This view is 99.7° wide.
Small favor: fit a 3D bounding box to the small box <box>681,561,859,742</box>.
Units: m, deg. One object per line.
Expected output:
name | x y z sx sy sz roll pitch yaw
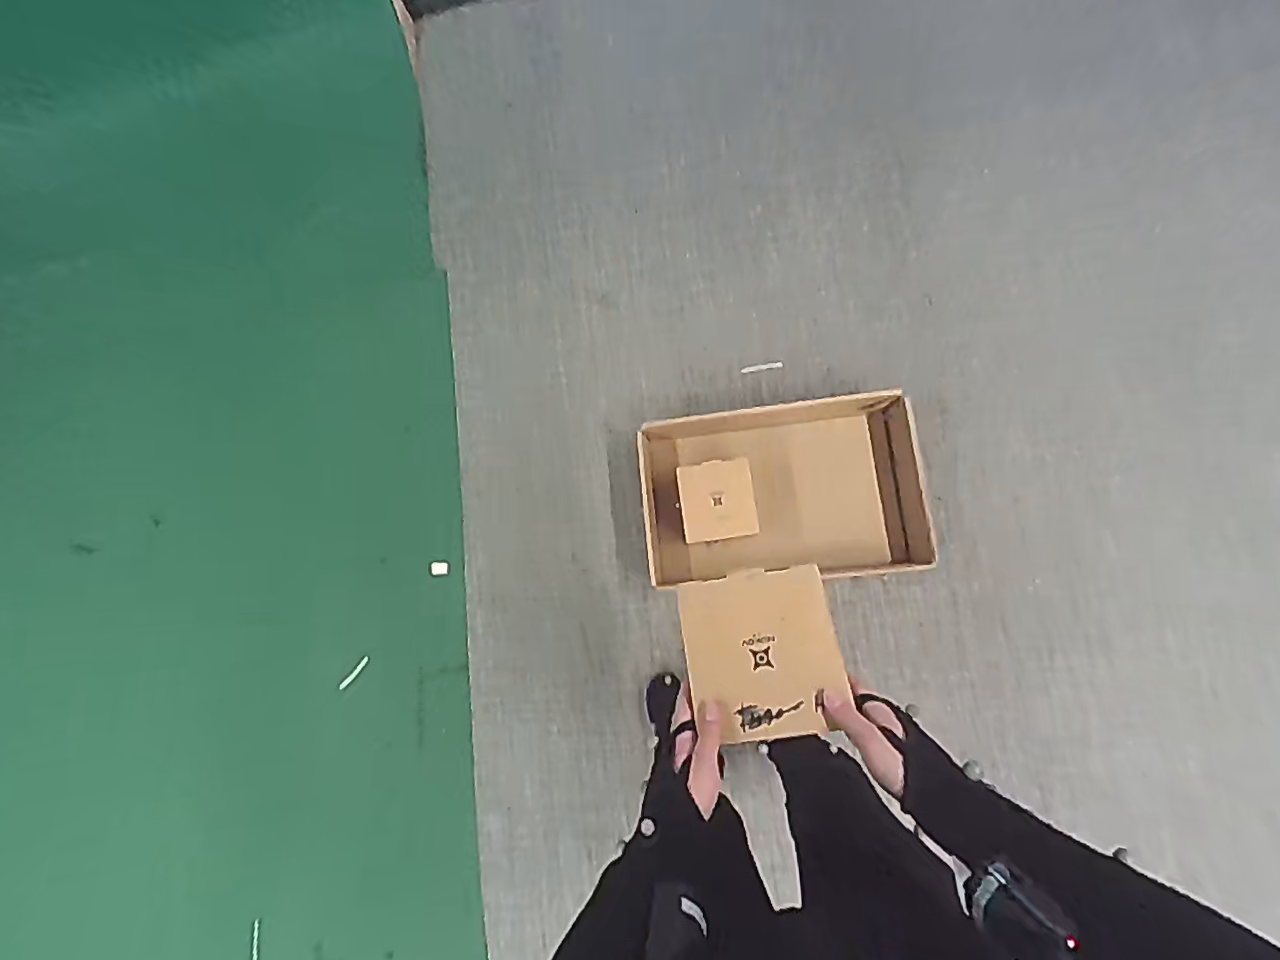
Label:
small box | 0.146 0.215 0.658 0.168 0.176 0.179 -9 63 6
